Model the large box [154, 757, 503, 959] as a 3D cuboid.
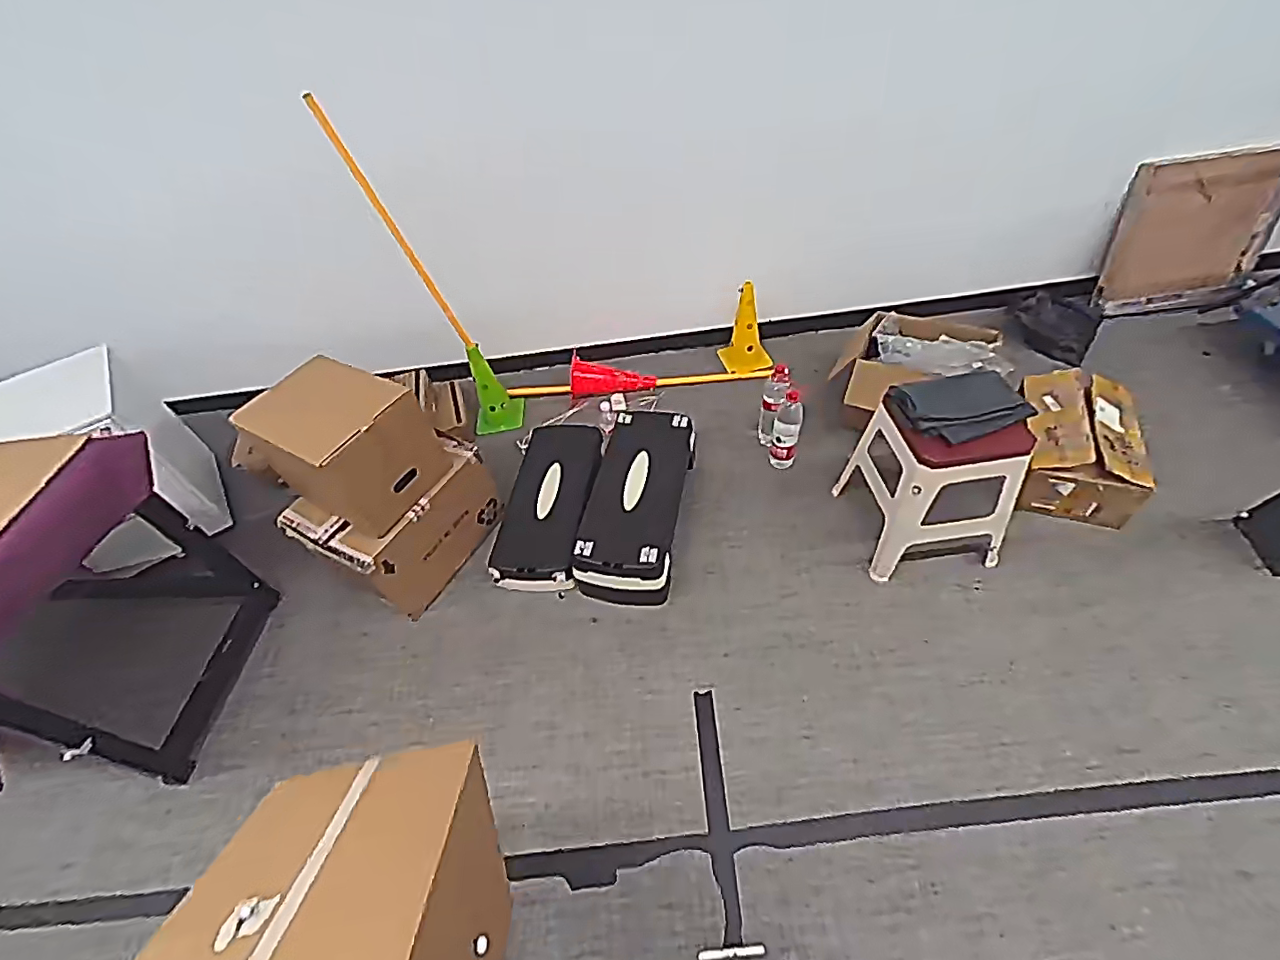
[{"bbox_3d":[-0.375,0.644,0.694,0.320,0.320,0.408,-10,9,-5],"label":"large box"}]
